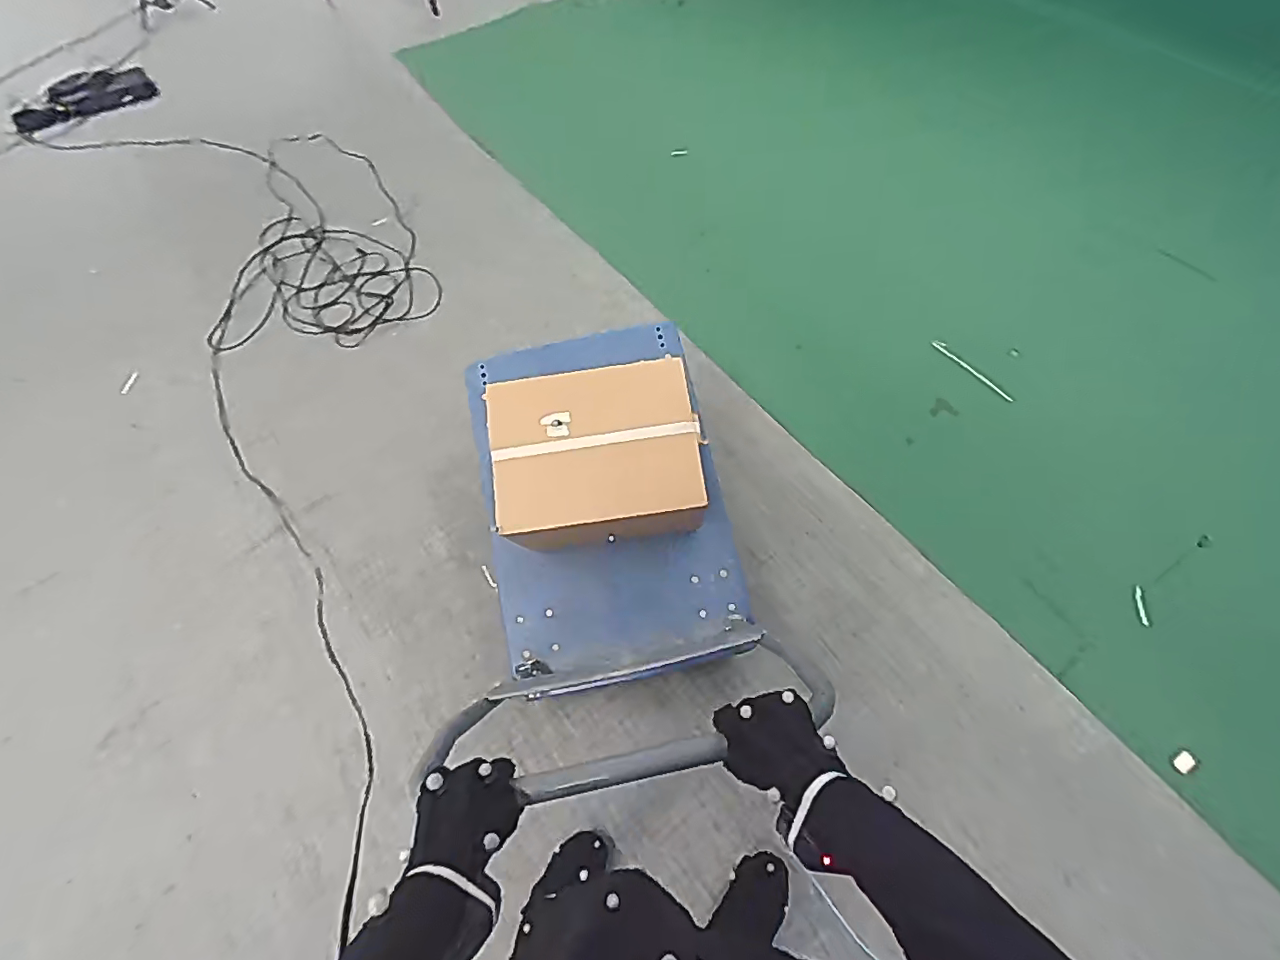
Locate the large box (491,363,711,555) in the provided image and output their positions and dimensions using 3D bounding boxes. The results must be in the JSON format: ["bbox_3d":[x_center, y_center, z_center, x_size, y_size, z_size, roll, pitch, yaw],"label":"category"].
[{"bbox_3d":[-0.074,-0.025,1.201,0.408,0.320,0.320,-9,76,2],"label":"large box"}]
